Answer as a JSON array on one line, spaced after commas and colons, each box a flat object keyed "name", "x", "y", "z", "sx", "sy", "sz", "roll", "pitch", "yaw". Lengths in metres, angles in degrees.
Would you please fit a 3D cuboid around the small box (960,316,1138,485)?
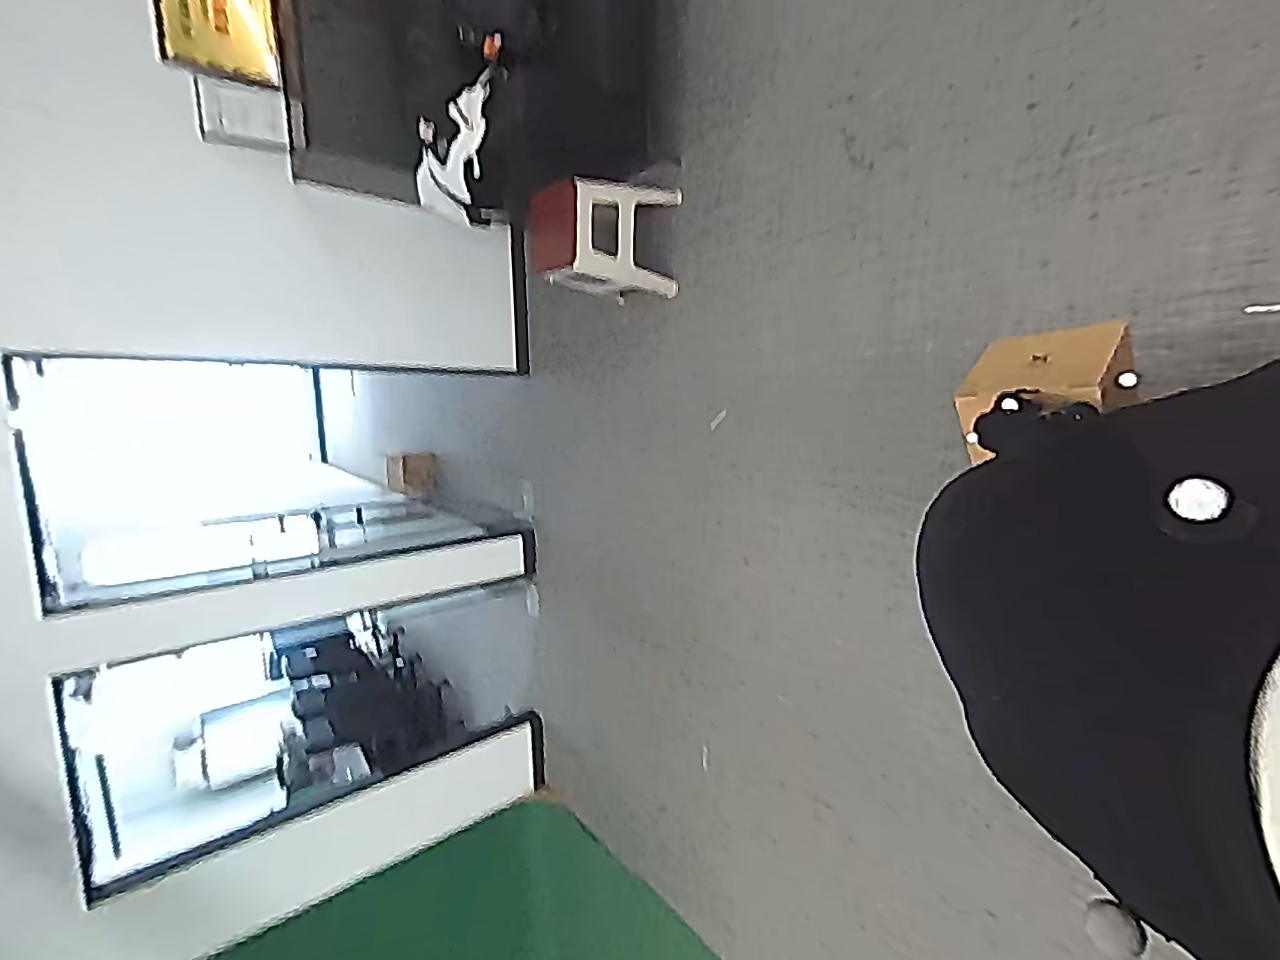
[{"name": "small box", "x": 0.602, "y": -0.113, "z": 0.792, "sx": 0.168, "sy": 0.179, "sz": 0.176, "roll": 3, "pitch": 129, "yaw": 52}]
